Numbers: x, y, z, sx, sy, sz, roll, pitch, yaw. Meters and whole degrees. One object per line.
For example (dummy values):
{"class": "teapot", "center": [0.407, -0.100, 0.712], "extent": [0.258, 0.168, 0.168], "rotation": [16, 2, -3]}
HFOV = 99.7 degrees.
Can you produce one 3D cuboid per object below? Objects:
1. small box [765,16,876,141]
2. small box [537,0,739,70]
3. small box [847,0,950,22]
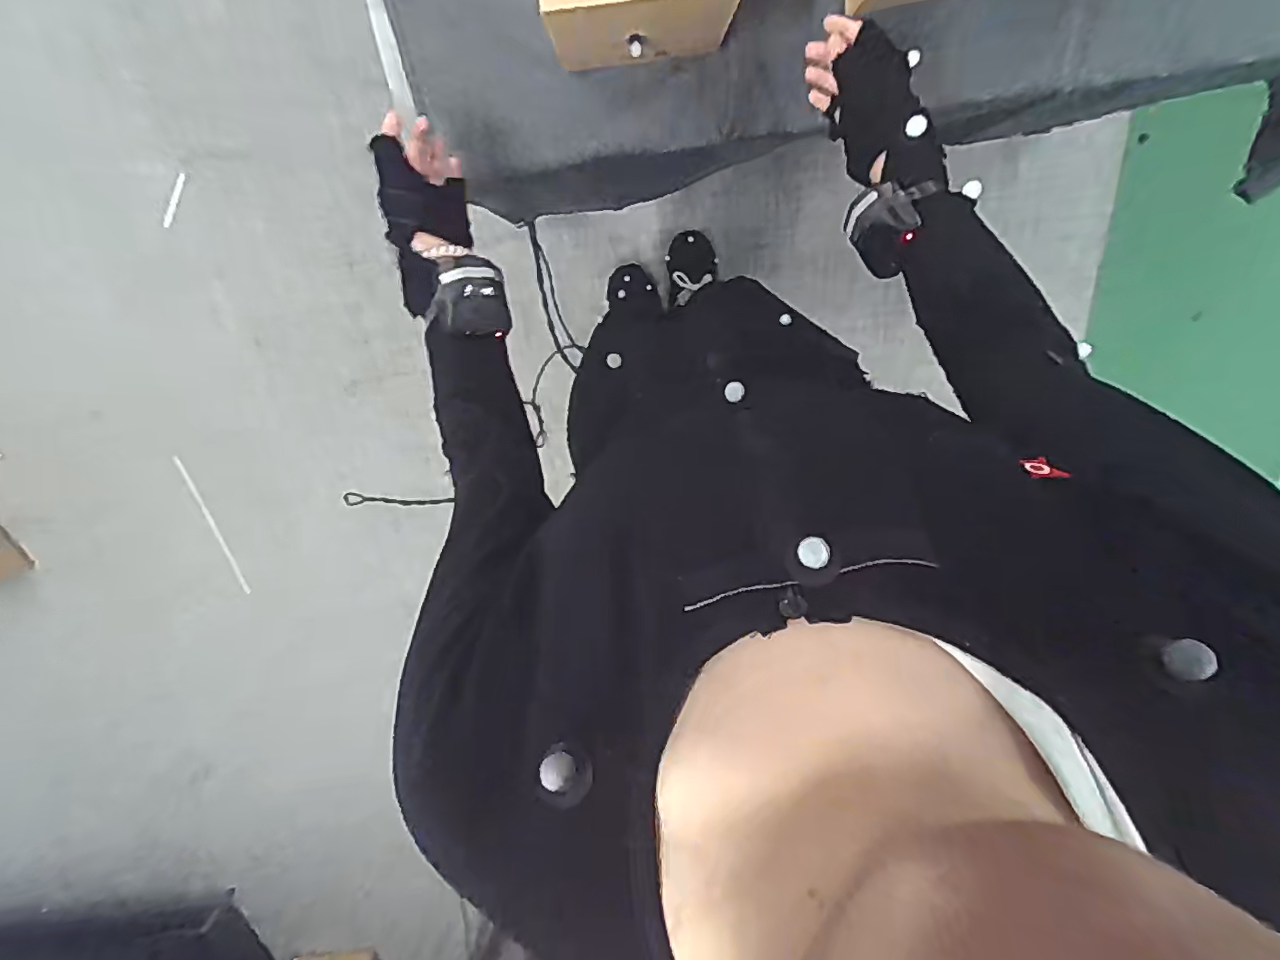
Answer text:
{"class": "small box", "center": [0.364, -0.817, 1.112], "extent": [0.179, 0.176, 0.168], "rotation": [-8, 114, 5]}
{"class": "small box", "center": [-0.006, -0.482, 0.468], "extent": [0.168, 0.176, 0.179], "rotation": [-5, 114, 2]}
{"class": "small box", "center": [0.280, -0.526, 0.450], "extent": [0.179, 0.176, 0.168], "rotation": [-11, 113, 6]}
